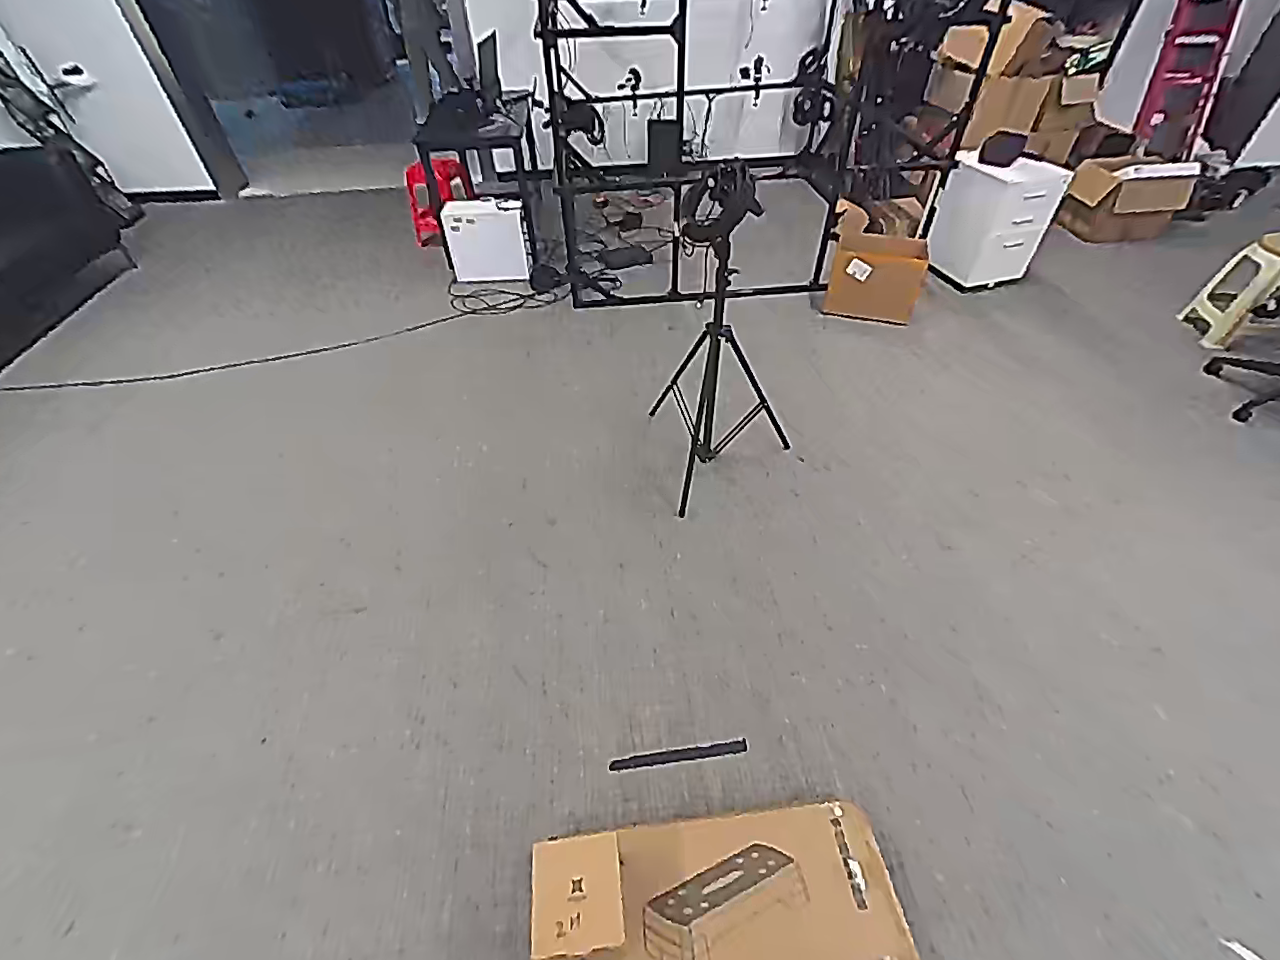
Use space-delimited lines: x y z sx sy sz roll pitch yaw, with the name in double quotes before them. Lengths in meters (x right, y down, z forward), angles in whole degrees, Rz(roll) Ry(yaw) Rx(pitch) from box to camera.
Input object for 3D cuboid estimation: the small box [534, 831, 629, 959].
"small box" -0.110 0.815 1.051 0.168 0.176 0.179 -6 45 -4
